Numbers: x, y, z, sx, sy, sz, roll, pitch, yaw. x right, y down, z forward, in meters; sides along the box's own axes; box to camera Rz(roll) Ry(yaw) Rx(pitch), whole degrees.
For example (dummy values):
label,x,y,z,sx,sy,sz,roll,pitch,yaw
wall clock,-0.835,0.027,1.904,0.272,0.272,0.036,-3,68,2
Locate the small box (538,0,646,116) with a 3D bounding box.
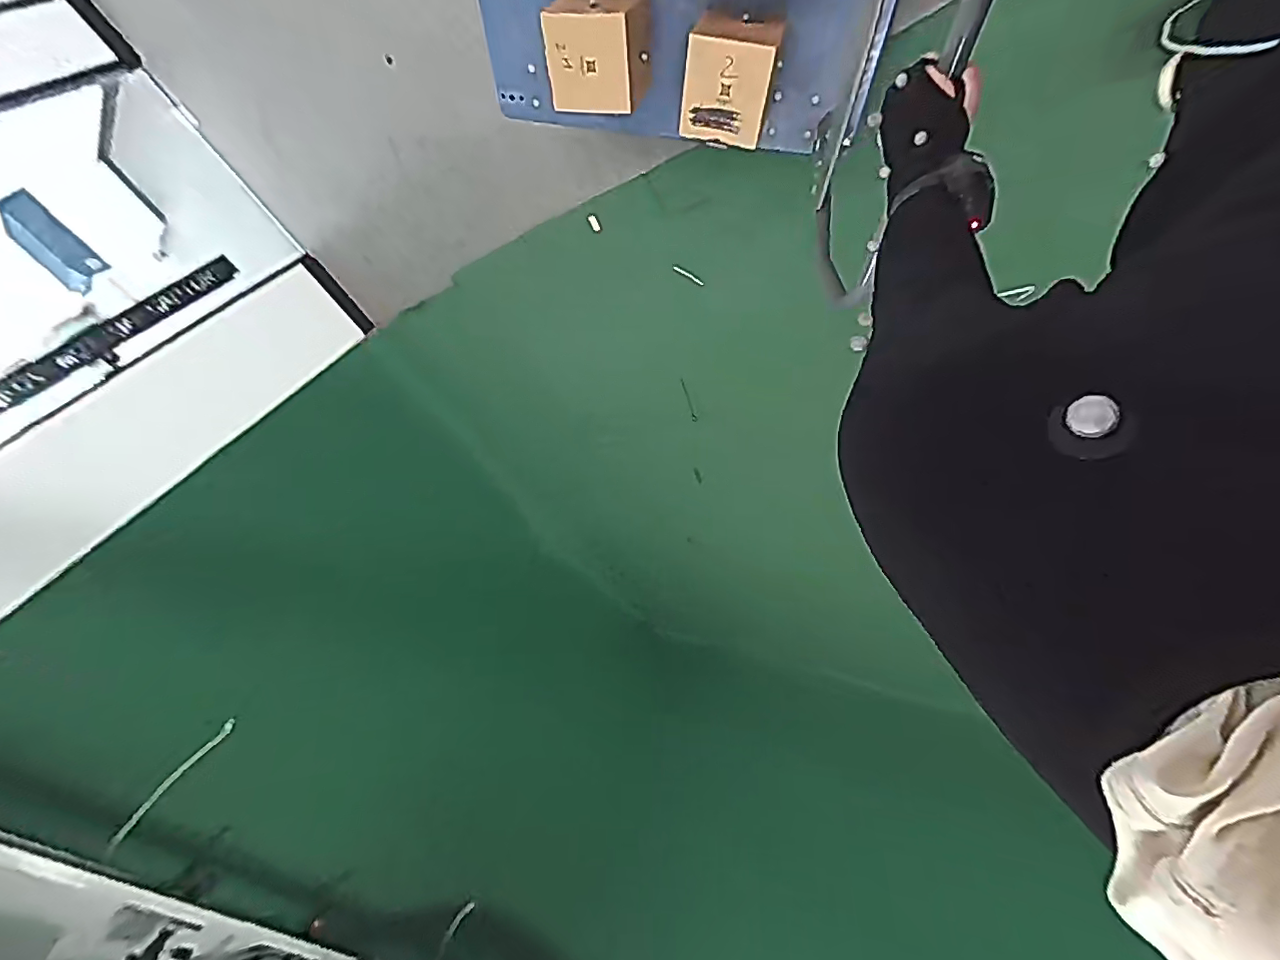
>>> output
label,x,y,z,sx,sy,sz,roll,pitch,yaw
small box,-0.088,-0.887,1.128,0.179,0.176,0.168,11,144,12
